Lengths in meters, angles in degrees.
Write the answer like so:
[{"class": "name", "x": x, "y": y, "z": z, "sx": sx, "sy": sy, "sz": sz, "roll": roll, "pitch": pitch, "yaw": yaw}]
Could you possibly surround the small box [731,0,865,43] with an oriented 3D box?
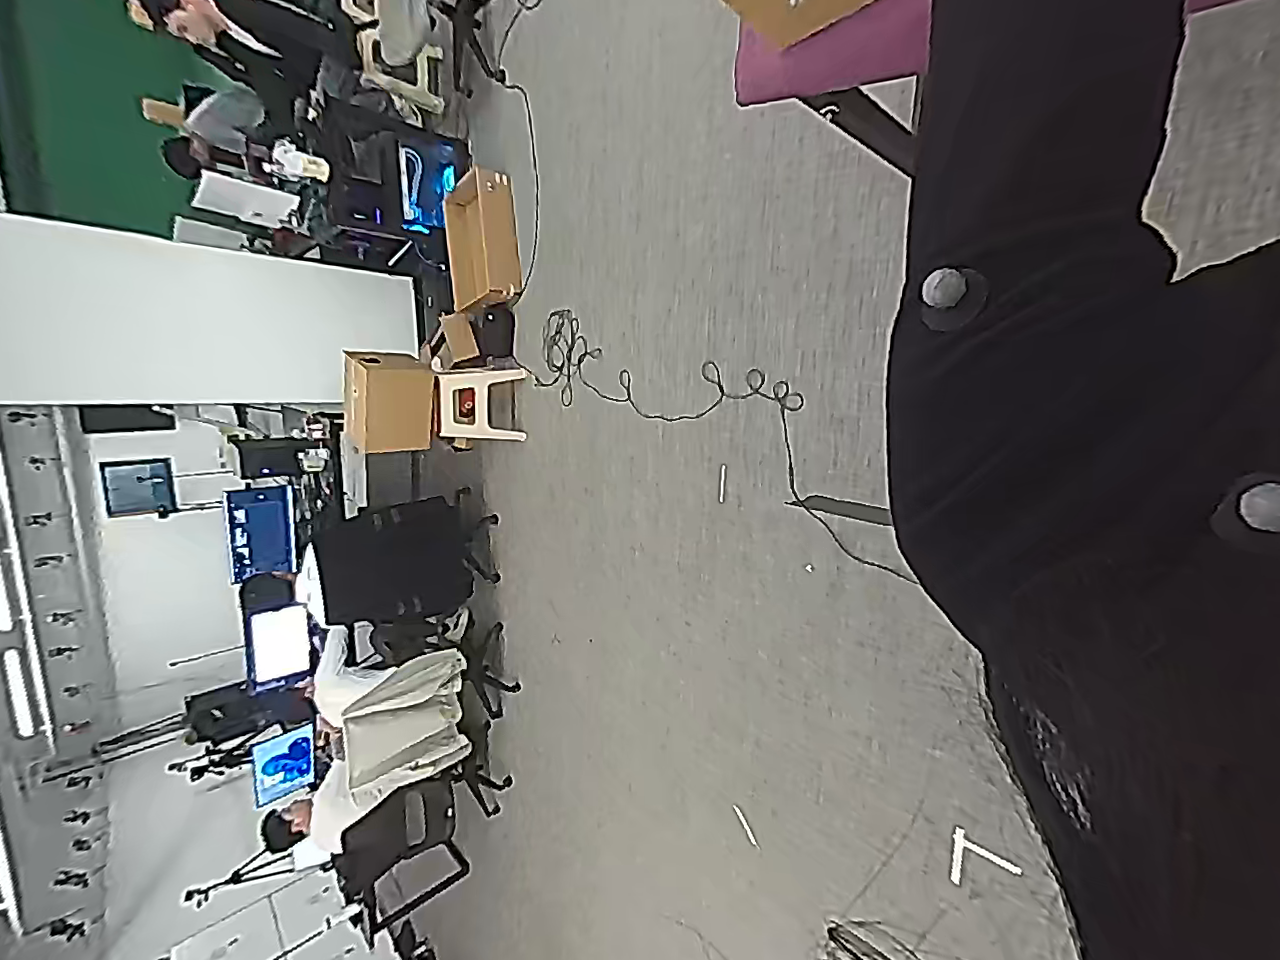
[{"class": "small box", "x": 0.227, "y": -0.743, "z": 0.720, "sx": 0.179, "sy": 0.176, "sz": 0.168, "roll": 6, "pitch": 99, "yaw": 46}]
